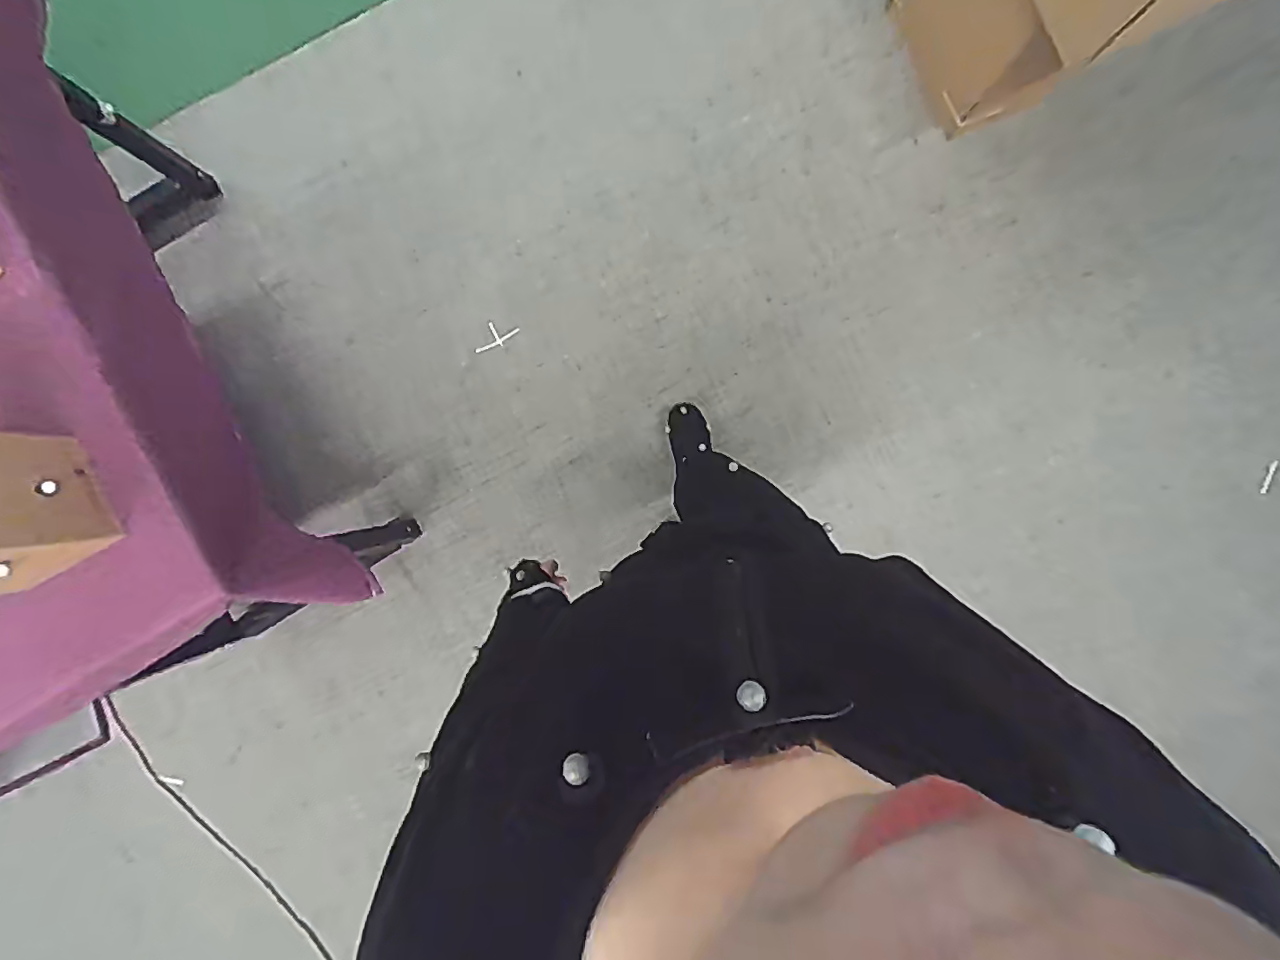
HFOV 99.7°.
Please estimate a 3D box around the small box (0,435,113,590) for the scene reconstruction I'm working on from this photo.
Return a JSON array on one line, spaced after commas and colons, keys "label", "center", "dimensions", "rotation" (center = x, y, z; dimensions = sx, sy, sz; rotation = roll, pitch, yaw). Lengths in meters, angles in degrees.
[{"label": "small box", "center": [-0.862, 0.046, 0.712], "dimensions": [0.179, 0.176, 0.168], "rotation": [-28, 89, 2]}]
